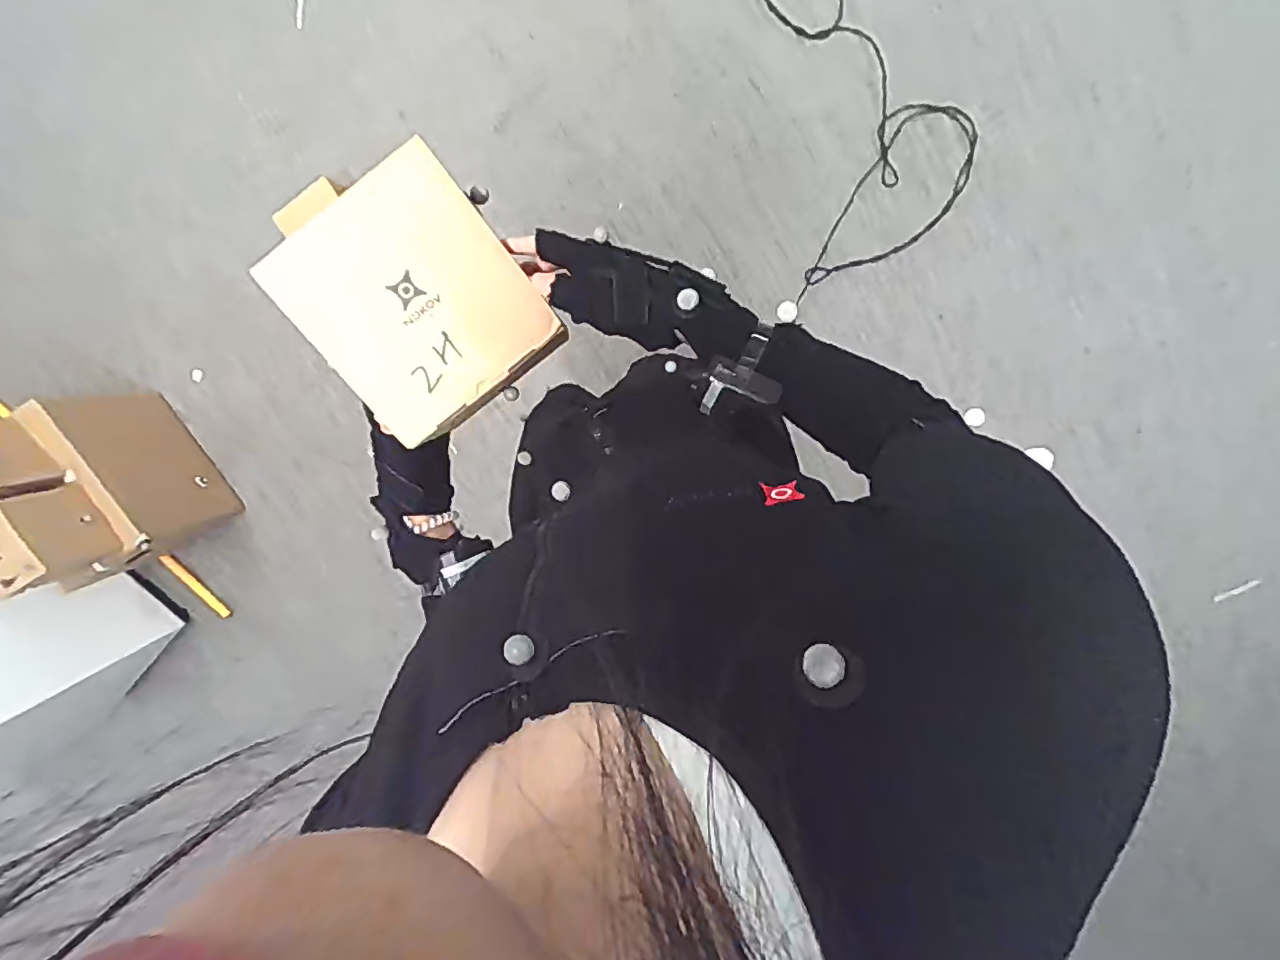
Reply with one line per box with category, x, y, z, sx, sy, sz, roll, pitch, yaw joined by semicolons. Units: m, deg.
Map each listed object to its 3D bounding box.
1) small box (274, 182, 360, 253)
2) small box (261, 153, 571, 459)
small box;-0.727;-0.578;1.321;0.168;0.176;0.179;-31;100;10
small box;-0.180;-0.144;0.497;0.168;0.176;0.179;-37;104;3
